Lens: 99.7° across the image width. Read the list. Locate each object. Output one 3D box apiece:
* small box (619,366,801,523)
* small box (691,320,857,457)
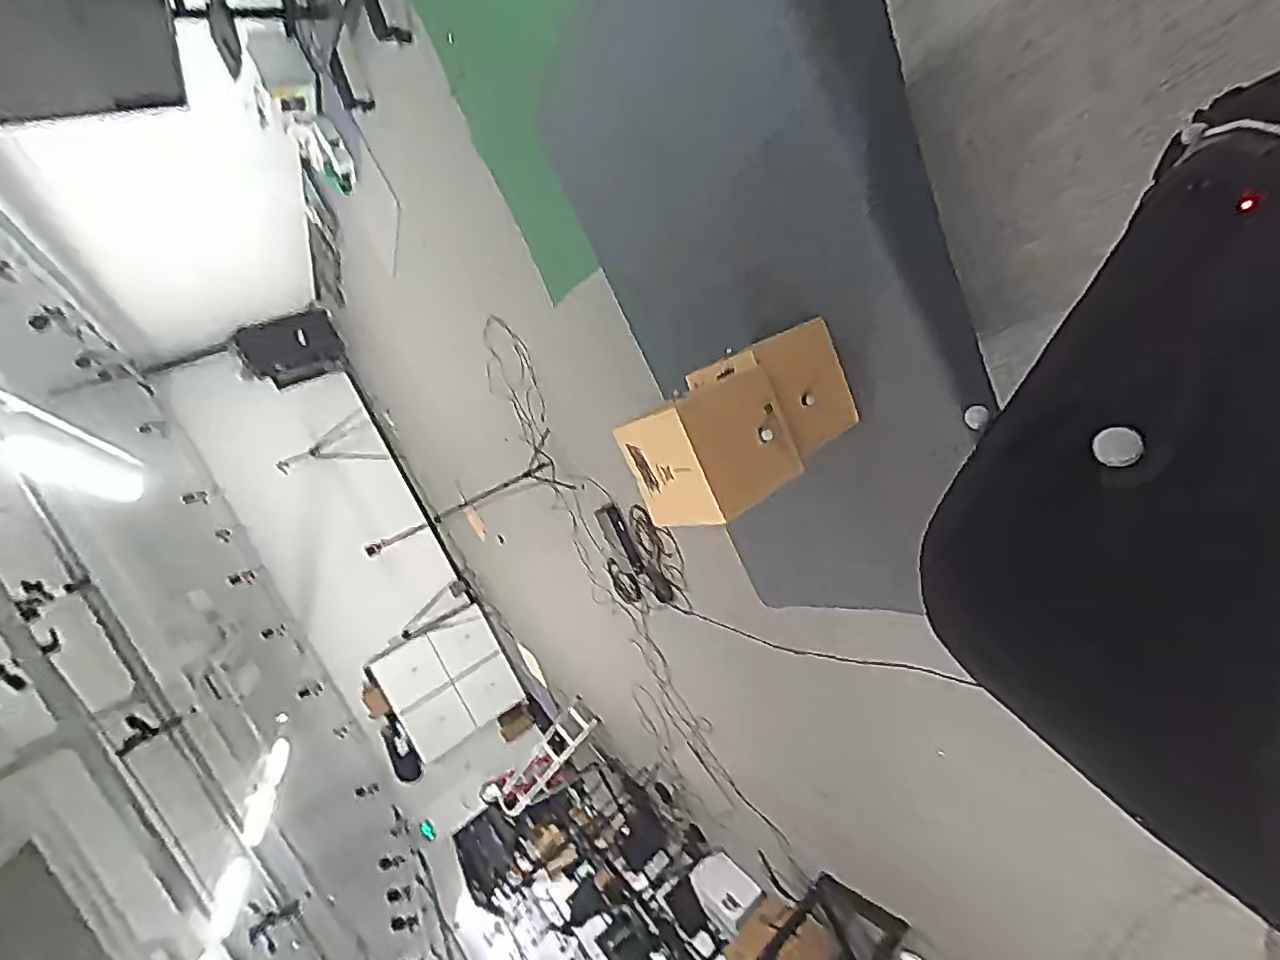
[{"bbox_3d":[0.101,-0.048,0.803,0.168,0.176,0.179,64,154,-5],"label":"small box"},{"bbox_3d":[0.220,-0.134,0.880,0.168,0.176,0.179,-8,109,60],"label":"small box"}]
